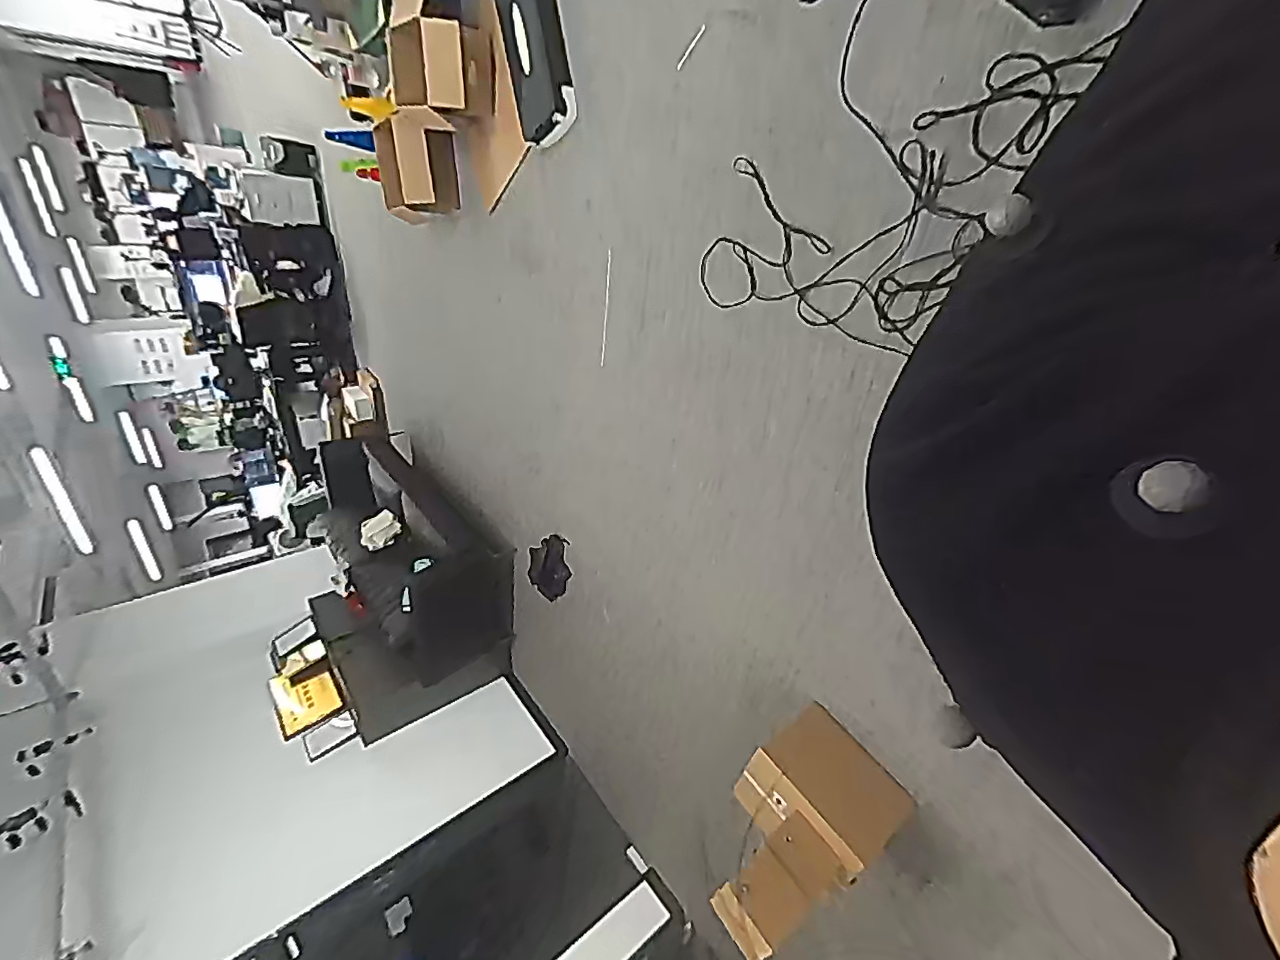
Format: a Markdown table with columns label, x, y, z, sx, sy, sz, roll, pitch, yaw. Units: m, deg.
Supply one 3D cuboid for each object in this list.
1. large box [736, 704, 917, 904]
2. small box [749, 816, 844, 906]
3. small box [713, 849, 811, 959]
| label | x | y | z | sx | sy | sz | roll | pitch | yaw |
| --- | --- | --- | --- | --- | --- | --- | --- | --- | --- |
| large box | 0.597 | 1.038 | 1.768 | 0.408 | 0.320 | 0.320 | 43 | 134 | 36 |
| small box | 0.454 | 1.125 | 1.579 | 0.179 | 0.176 | 0.168 | 41 | 135 | 34 |
| small box | 0.334 | 1.163 | 1.476 | 0.179 | 0.176 | 0.168 | 44 | 137 | 34 |
